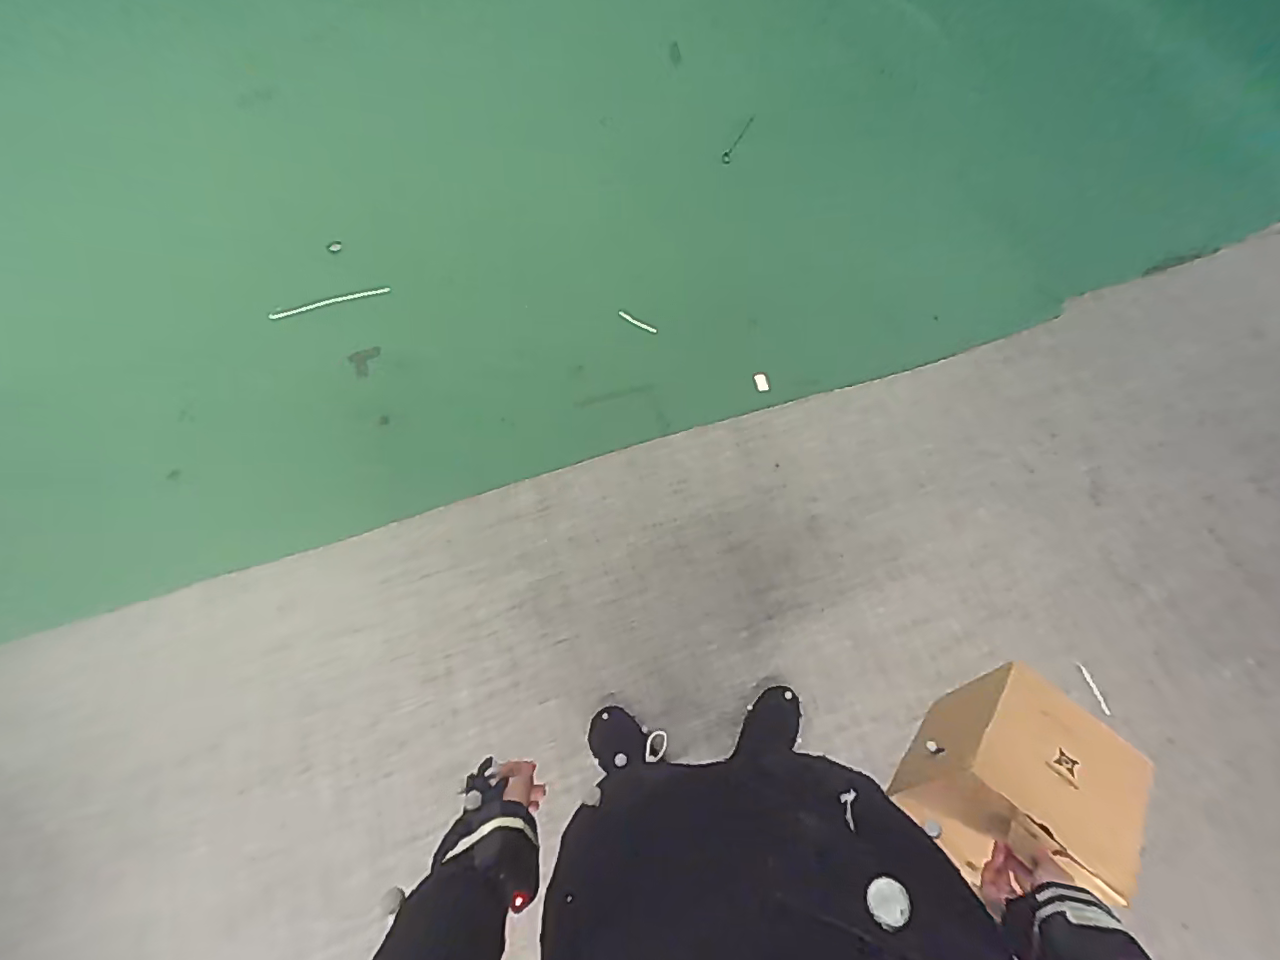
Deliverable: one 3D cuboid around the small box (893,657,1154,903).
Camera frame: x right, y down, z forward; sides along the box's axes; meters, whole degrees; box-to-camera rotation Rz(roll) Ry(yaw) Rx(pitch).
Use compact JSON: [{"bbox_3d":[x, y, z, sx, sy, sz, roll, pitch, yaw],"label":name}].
[{"bbox_3d":[0.430,0.349,0.628,0.168,0.176,0.179,42,52,19],"label":"small box"}]
